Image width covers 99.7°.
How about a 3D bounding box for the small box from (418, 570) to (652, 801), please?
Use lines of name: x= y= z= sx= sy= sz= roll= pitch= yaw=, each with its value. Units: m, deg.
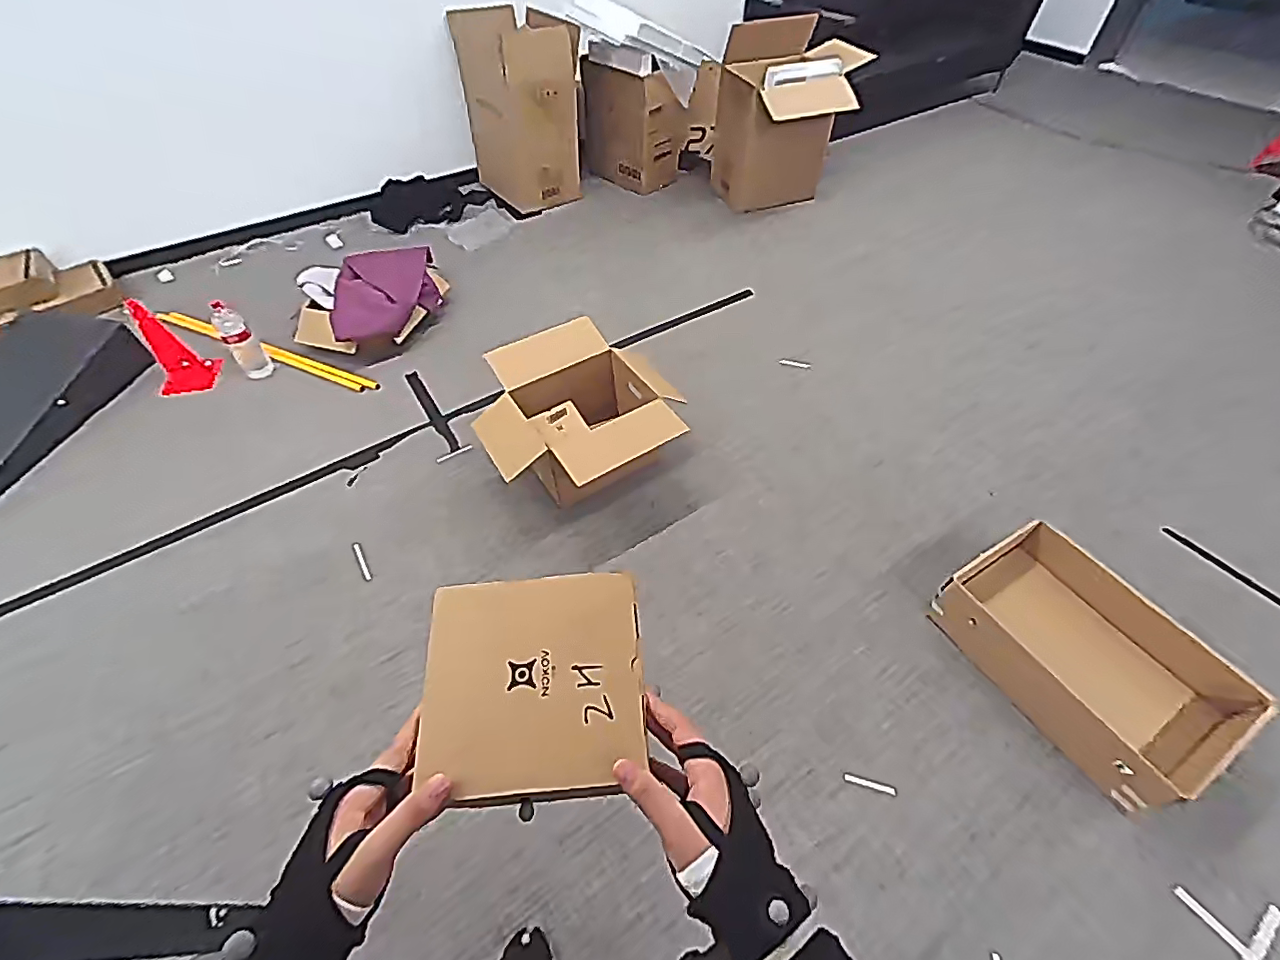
small box: x=-0.083 y=0.199 z=0.509 sx=0.179 sy=0.176 sz=0.168 roll=-5 pitch=59 yaw=-2
